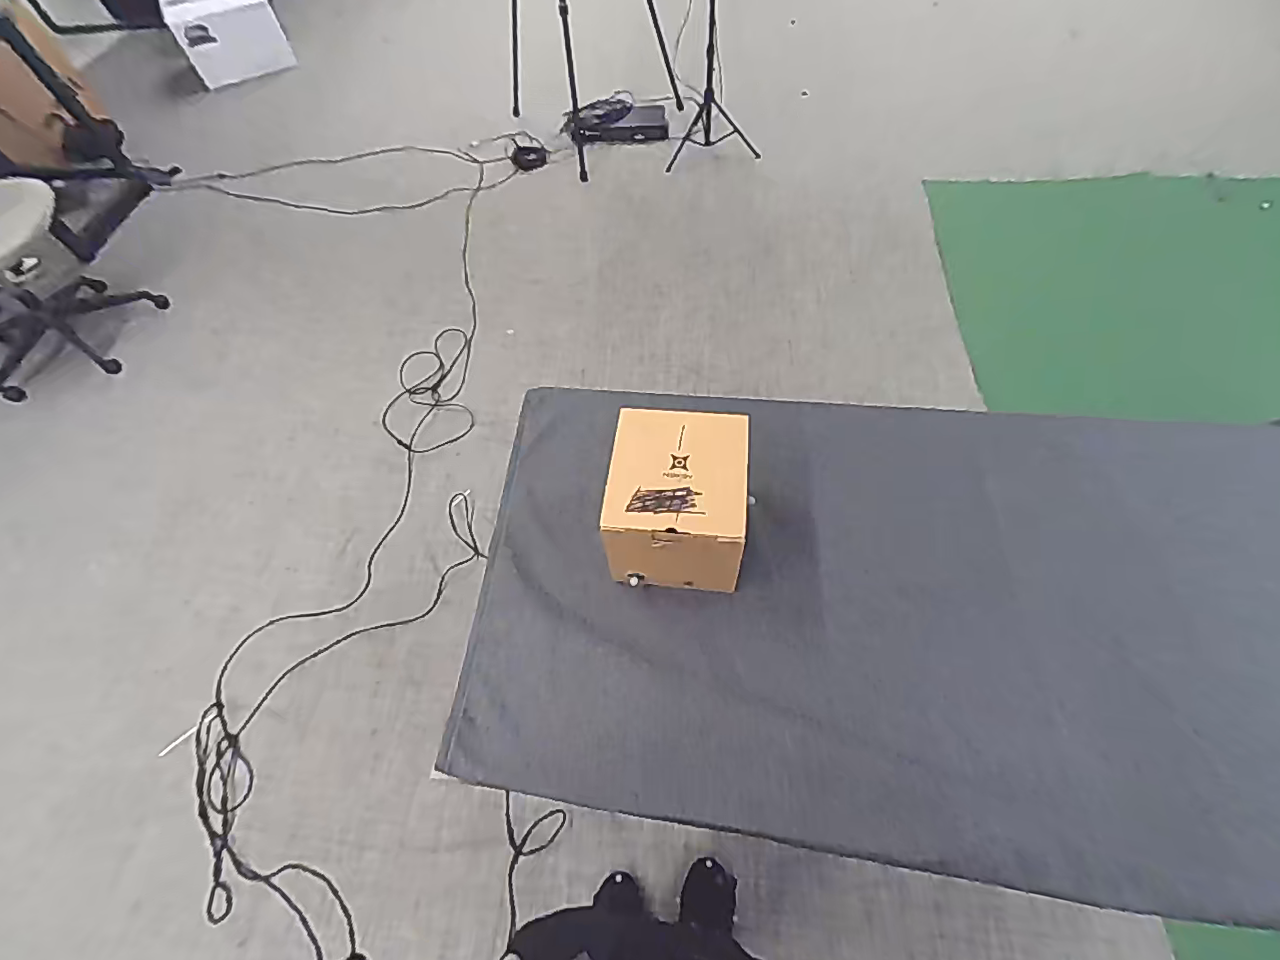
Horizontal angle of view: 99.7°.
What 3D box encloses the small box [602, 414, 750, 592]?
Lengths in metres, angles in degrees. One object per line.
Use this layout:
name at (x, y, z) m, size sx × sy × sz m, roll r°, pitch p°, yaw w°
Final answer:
small box at (0.054, 0.036, 0.718) m, size 0.168 × 0.176 × 0.179 m, roll 4°, pitch 58°, yaw 7°
